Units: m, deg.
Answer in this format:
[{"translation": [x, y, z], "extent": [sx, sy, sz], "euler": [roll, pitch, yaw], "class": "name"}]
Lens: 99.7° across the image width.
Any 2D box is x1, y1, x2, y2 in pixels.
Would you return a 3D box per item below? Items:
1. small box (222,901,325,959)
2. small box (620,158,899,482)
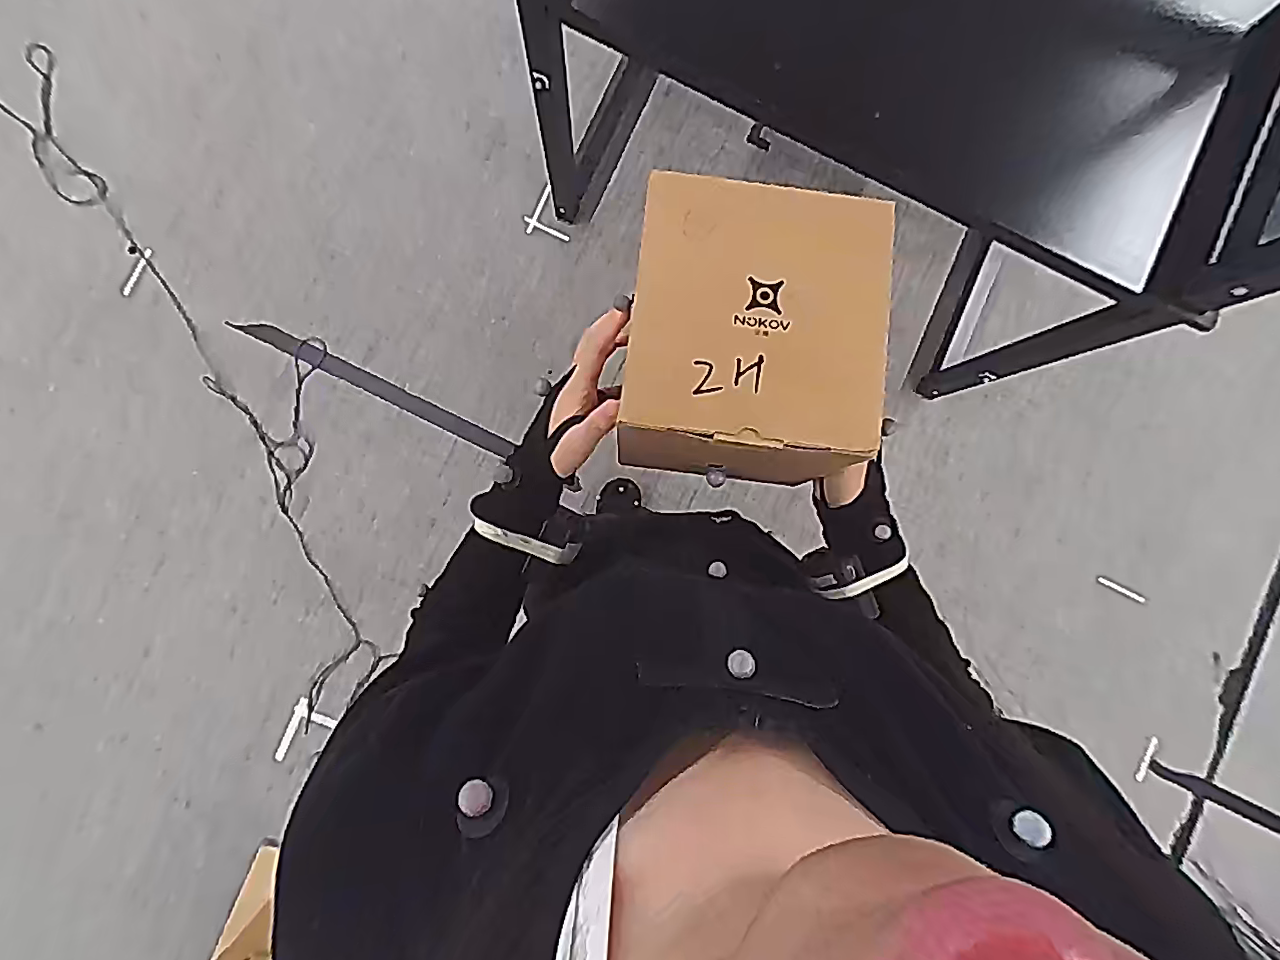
[{"translation": [-0.908, 1.186, 1.320], "extent": [0.168, 0.176, 0.179], "euler": [19, 88, -3], "class": "small box"}, {"translation": [0.075, -0.103, 0.419], "extent": [0.168, 0.176, 0.179], "euler": [7, 83, -1], "class": "small box"}]
